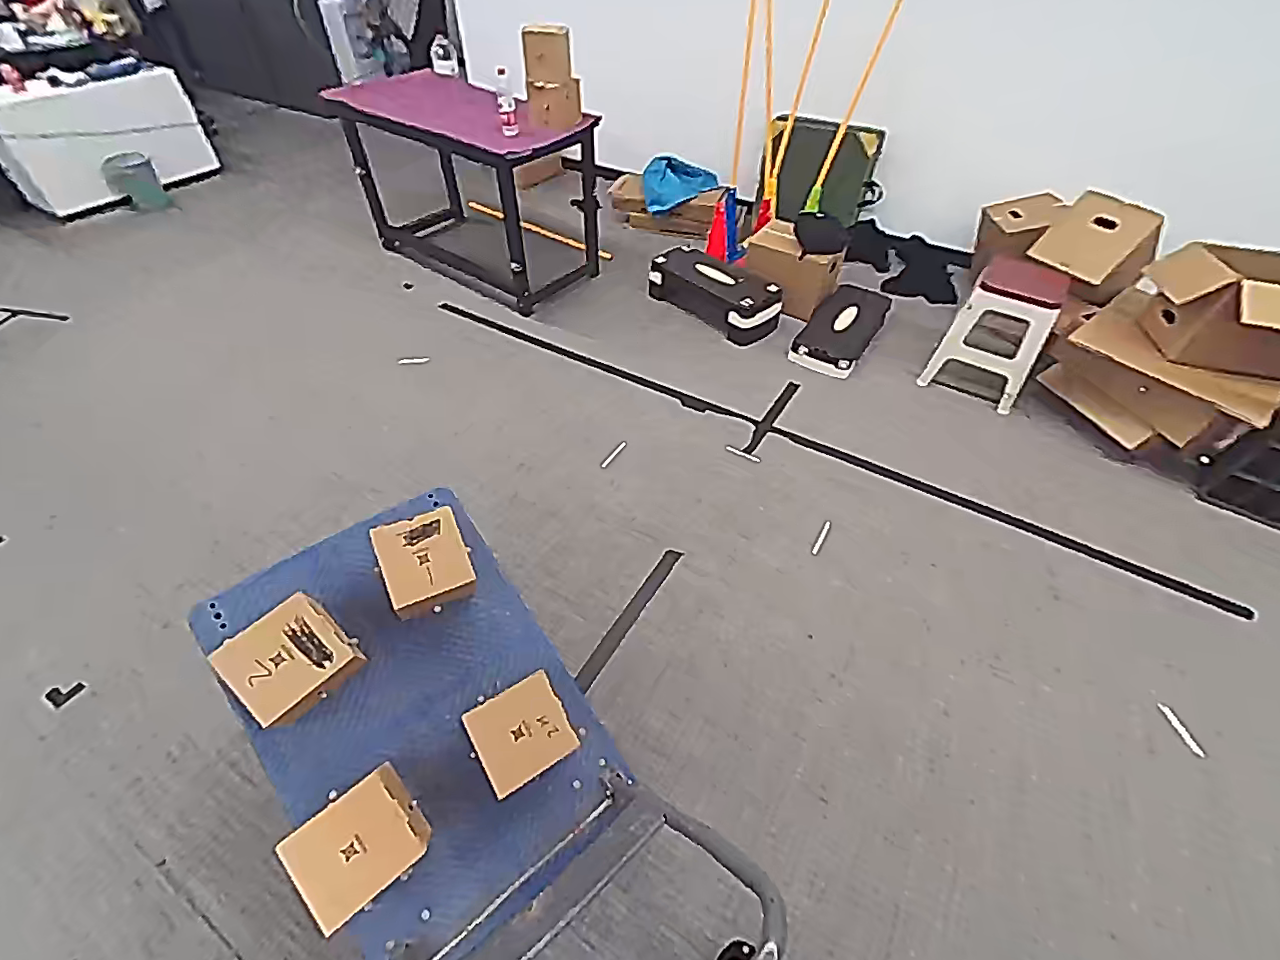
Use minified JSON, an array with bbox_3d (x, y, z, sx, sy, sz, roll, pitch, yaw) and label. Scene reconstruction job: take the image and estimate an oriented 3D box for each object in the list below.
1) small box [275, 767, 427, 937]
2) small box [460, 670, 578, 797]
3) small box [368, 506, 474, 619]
[{"bbox_3d":[-0.504,0.649,0.972,0.179,0.176,0.168,-34,82,-28],"label":"small box"},{"bbox_3d":[-0.252,0.513,1.111,0.179,0.176,0.168,-25,78,-25],"label":"small box"},{"bbox_3d":[-0.473,0.184,1.177,0.168,0.176,0.179,-20,76,-24],"label":"small box"}]
